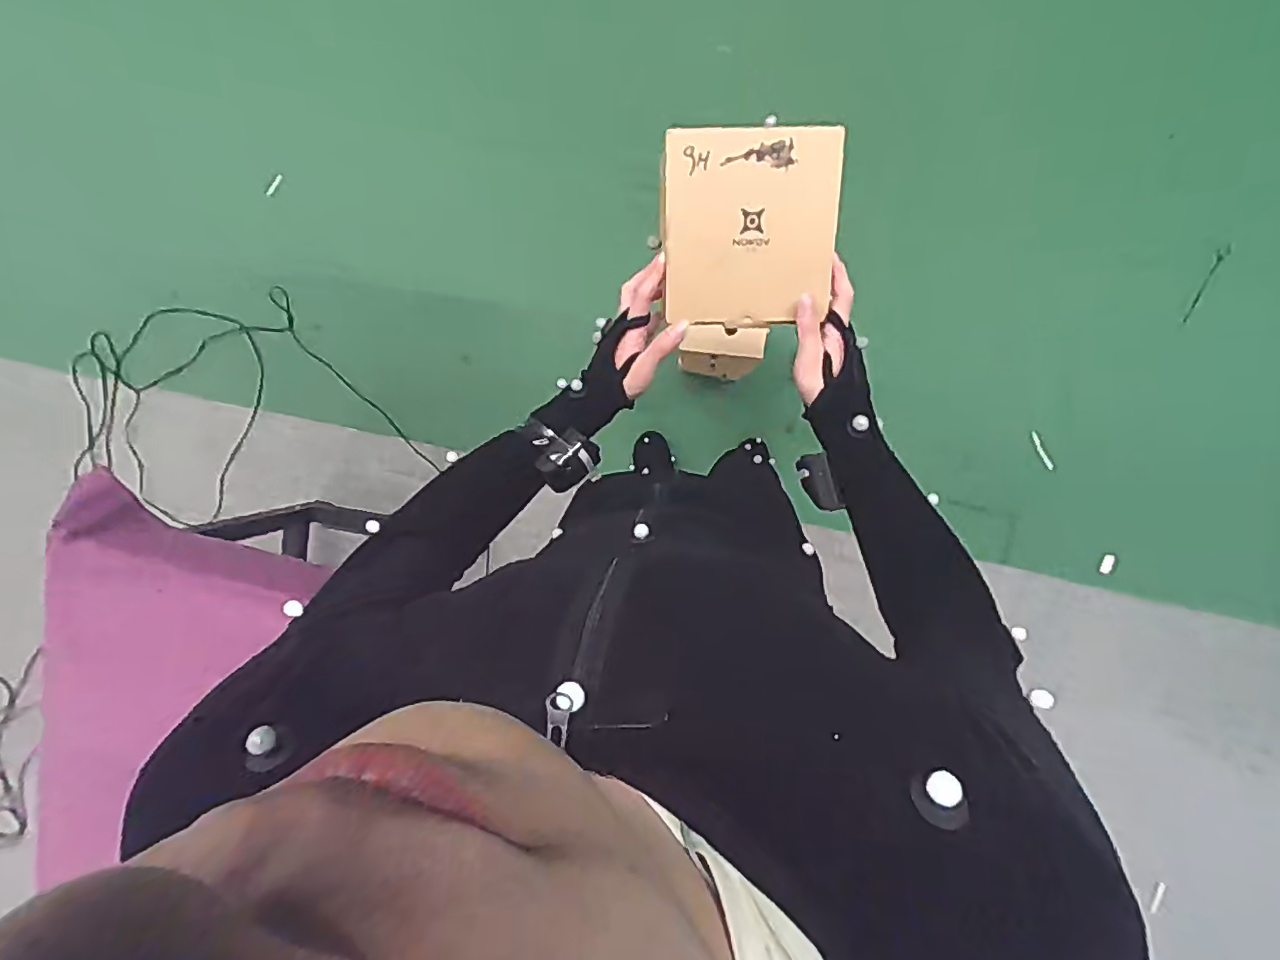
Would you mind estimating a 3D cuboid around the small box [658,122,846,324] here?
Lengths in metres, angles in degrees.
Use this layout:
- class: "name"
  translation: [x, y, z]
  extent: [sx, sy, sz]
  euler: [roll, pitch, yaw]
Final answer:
- class: "small box"
  translation: [0.106, -0.270, 0.592]
  extent: [0.168, 0.176, 0.179]
  euler: [-1, 111, 0]

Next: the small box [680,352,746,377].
- class: "small box"
  translation: [0.213, -0.383, 1.486]
  extent: [0.179, 0.176, 0.168]
  euler: [12, 97, 5]

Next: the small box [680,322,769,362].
- class: "small box"
  translation: [0.184, -0.351, 1.163]
  extent: [0.179, 0.176, 0.168]
  euler: [8, 98, 4]

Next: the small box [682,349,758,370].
- class: "small box"
  translation: [0.203, -0.367, 1.325]
  extent: [0.179, 0.176, 0.168]
  euler: [9, 97, 5]
